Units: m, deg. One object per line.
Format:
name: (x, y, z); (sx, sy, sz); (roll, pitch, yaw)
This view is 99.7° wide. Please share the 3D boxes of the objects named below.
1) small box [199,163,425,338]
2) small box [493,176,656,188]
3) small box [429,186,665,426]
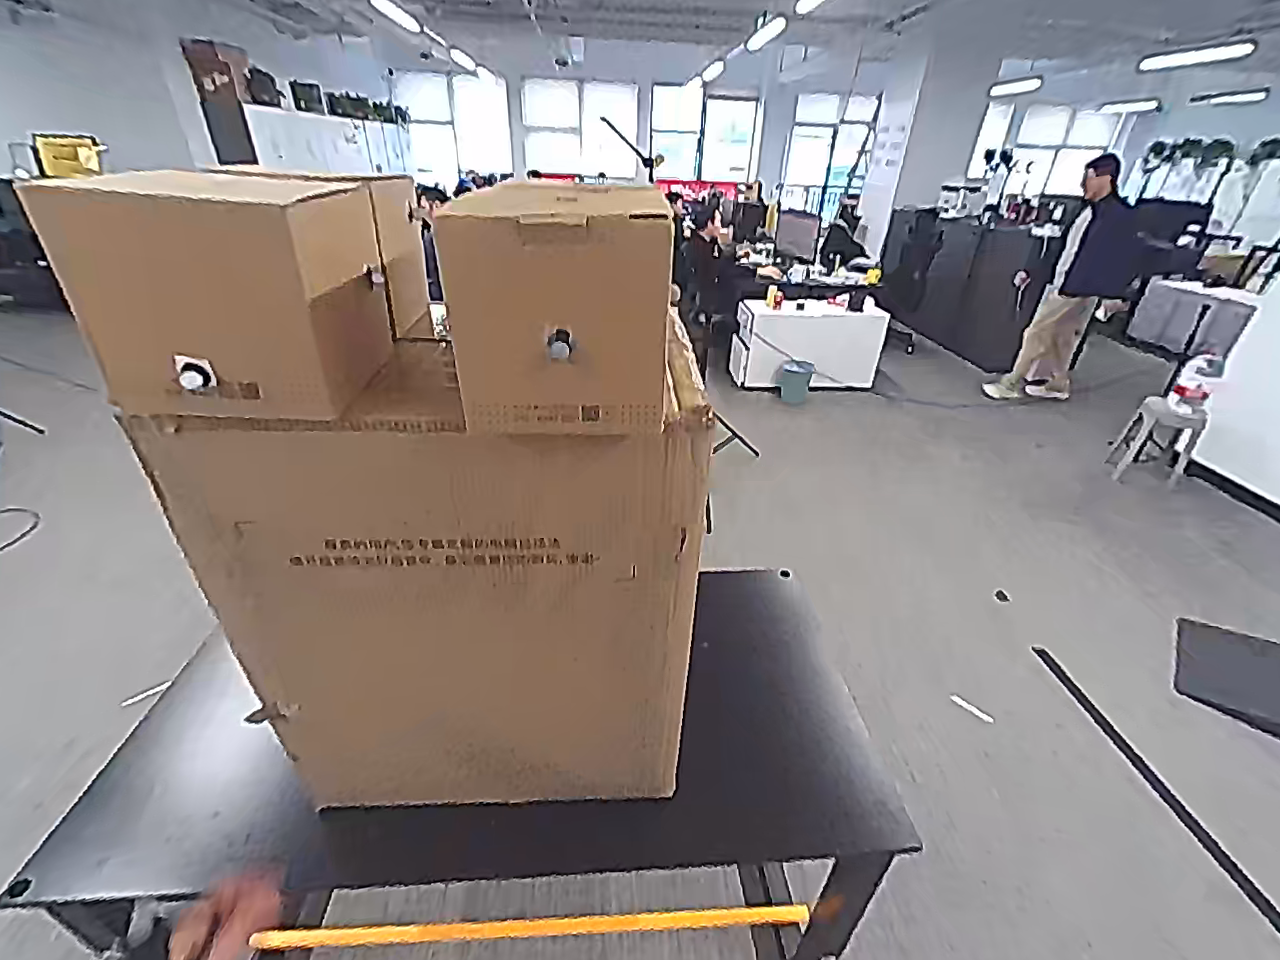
small box: (-0.369, -0.277, 0.652); (0.168, 0.176, 0.179); (-1, 29, -6)
small box: (-0.075, -0.263, 0.647); (0.168, 0.176, 0.179); (-3, 30, -6)
small box: (-0.064, -0.156, 0.478); (0.168, 0.176, 0.179); (0, 33, -2)
